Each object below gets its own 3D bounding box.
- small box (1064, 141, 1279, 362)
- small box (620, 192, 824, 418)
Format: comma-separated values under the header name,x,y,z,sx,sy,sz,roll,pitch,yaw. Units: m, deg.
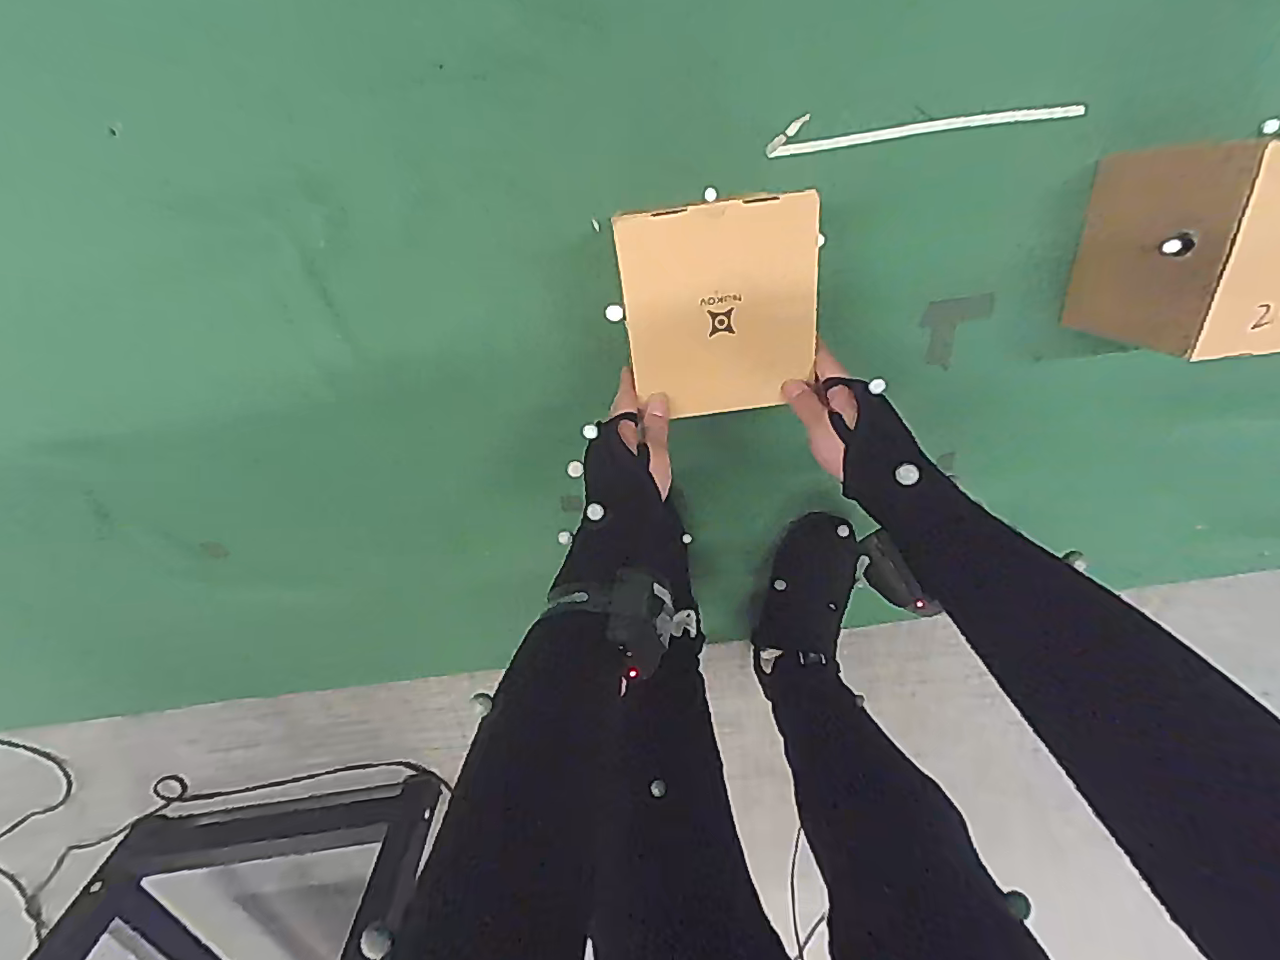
name,x,y,z,sx,sy,sz,roll,pitch,yaw
small box,0.572,-0.228,0.534,0.168,0.176,0.179,-6,117,0
small box,0.072,-0.177,0.539,0.168,0.176,0.179,-7,115,1
